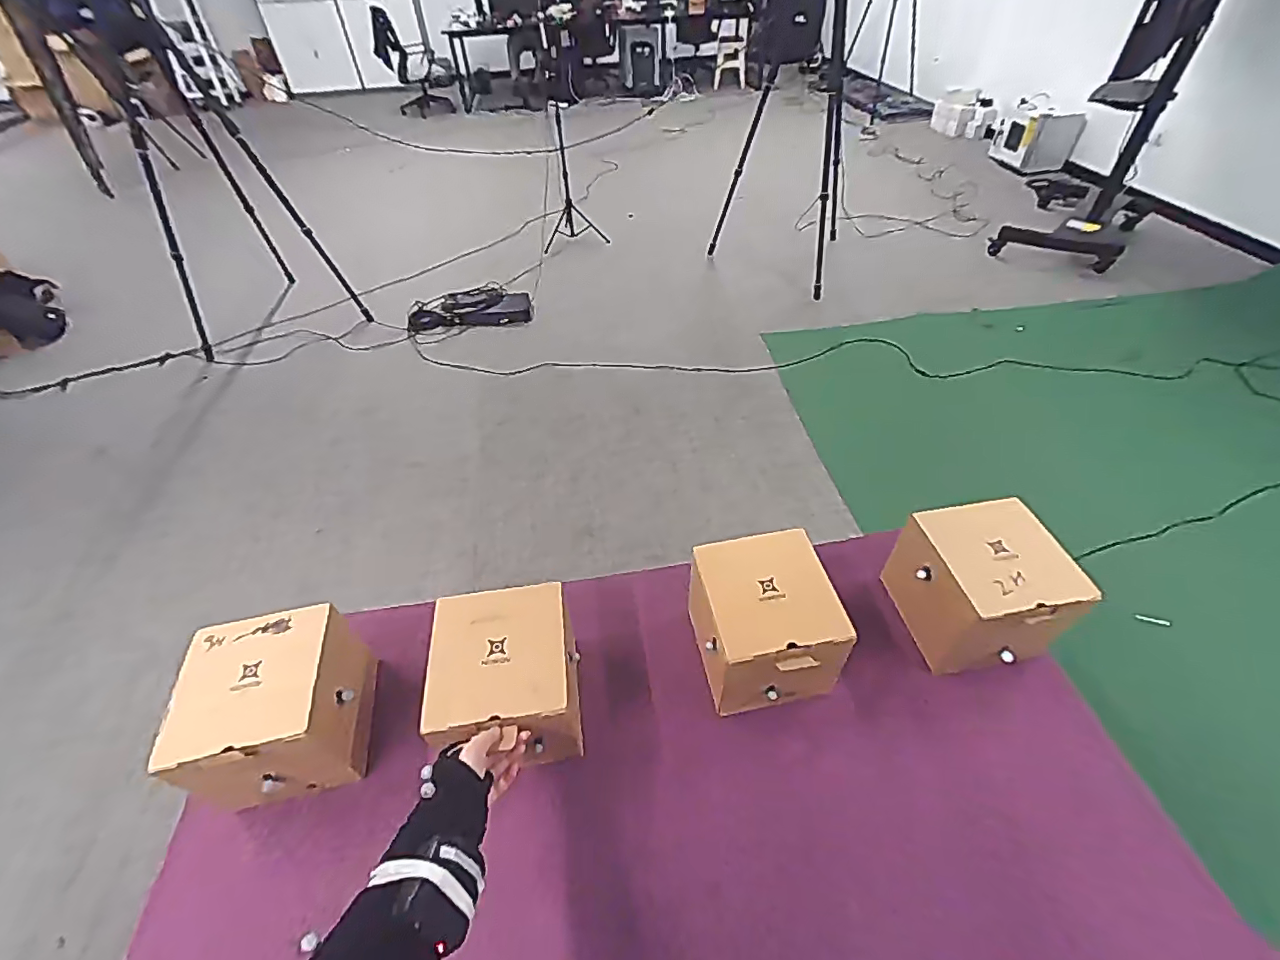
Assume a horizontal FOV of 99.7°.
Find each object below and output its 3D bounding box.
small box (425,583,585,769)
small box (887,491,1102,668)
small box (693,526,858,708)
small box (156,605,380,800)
[{"bbox_3d":[-0.166,0.264,0.717,0.168,0.176,0.179,-7,46,-5],"label":"small box"},{"bbox_3d":[0.488,0.144,0.782,0.168,0.176,0.179,-9,47,-3],"label":"small box"},{"bbox_3d":[0.174,0.193,0.763,0.168,0.176,0.179,-10,47,-6],"label":"small box"},{"bbox_3d":[-0.458,0.295,0.704,0.168,0.176,0.179,-11,48,-8],"label":"small box"}]
